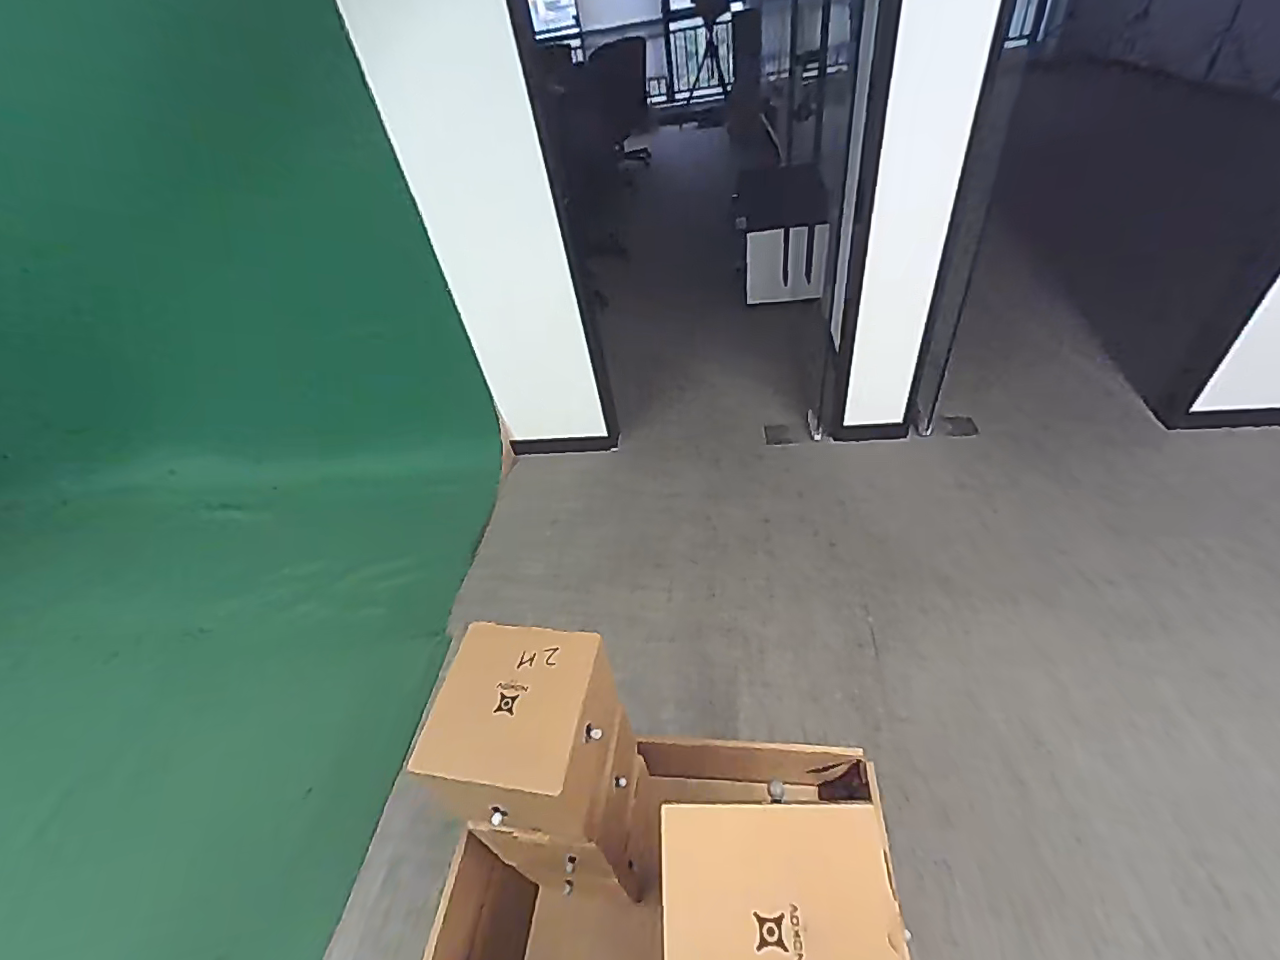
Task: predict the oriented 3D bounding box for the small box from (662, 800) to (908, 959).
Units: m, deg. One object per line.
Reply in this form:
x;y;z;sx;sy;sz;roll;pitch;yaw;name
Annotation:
0.125;0.373;0.464;0.179;0.176;0.168;-9;59;14;small box

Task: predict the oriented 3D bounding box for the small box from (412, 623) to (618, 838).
-0.128;0.296;0.640;0.168;0.176;0.179;3;44;12;small box

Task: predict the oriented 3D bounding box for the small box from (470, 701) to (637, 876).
-0.103;0.419;0.747;0.168;0.176;0.179;2;43;11;small box
